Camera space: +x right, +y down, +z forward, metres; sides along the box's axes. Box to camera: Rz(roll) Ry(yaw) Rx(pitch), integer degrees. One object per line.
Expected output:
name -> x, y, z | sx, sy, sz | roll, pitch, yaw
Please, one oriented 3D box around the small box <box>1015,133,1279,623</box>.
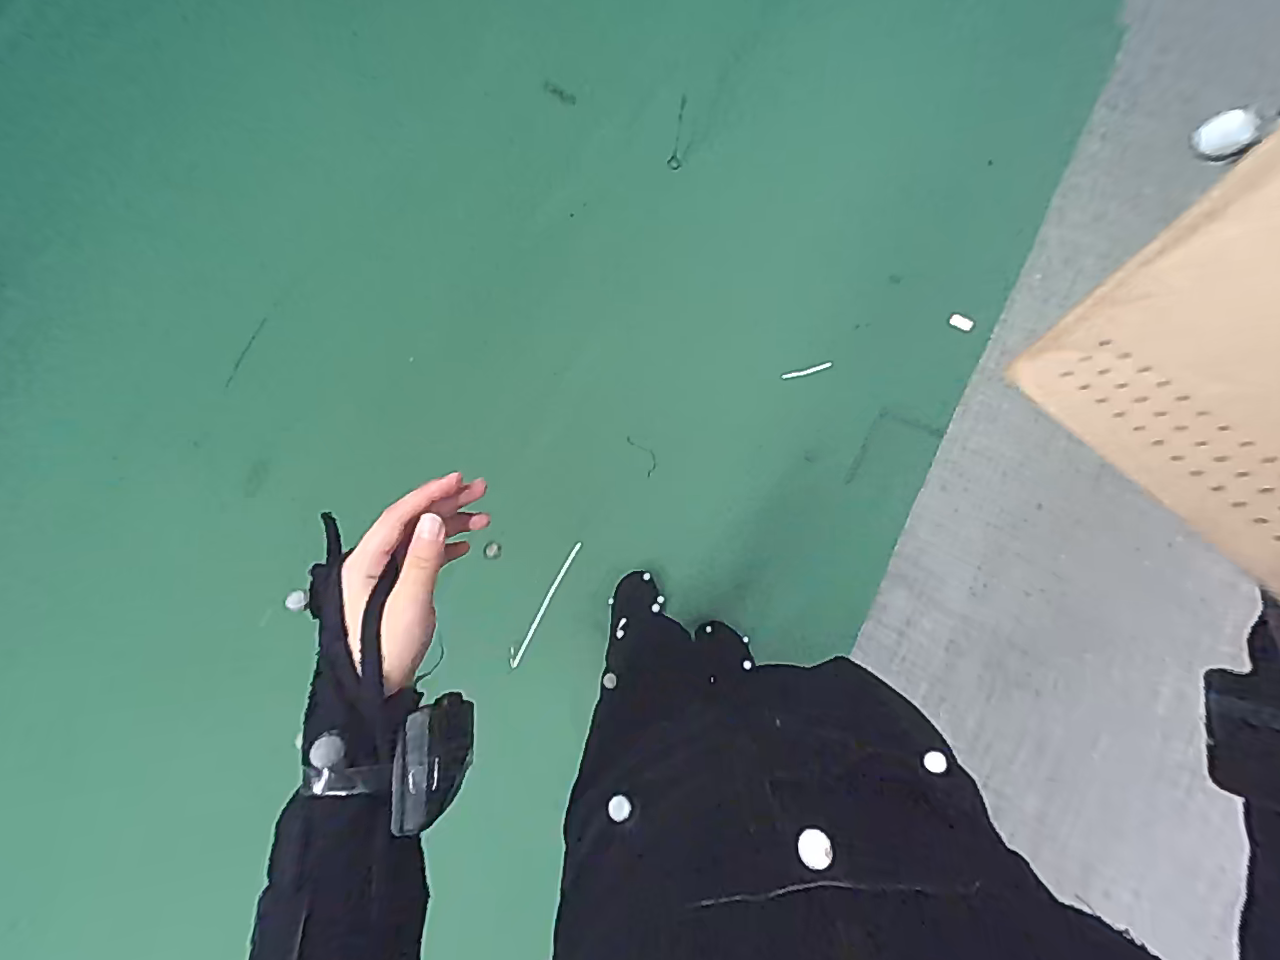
small box -> 0.262, -0.046, 0.157 | 0.168, 0.176, 0.179 | -28, 67, -36
